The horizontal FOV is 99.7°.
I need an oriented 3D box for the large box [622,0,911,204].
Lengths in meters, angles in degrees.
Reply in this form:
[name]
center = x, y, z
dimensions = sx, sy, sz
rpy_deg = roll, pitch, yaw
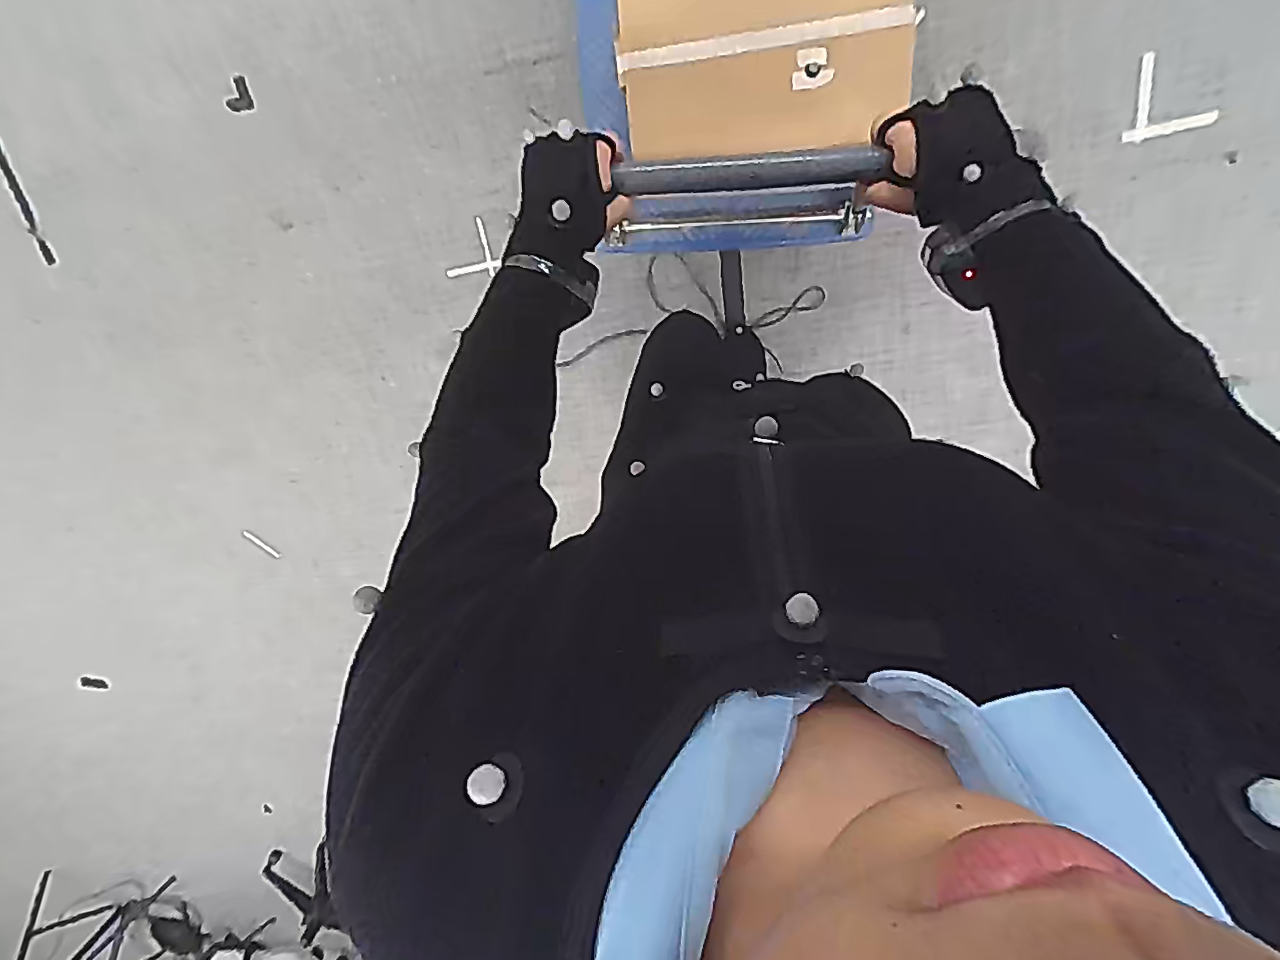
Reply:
[large box]
center = 0.193, -0.681, 0.917
dimensions = 0.408, 0.320, 0.320
rpy_deg = -4, 112, 7
